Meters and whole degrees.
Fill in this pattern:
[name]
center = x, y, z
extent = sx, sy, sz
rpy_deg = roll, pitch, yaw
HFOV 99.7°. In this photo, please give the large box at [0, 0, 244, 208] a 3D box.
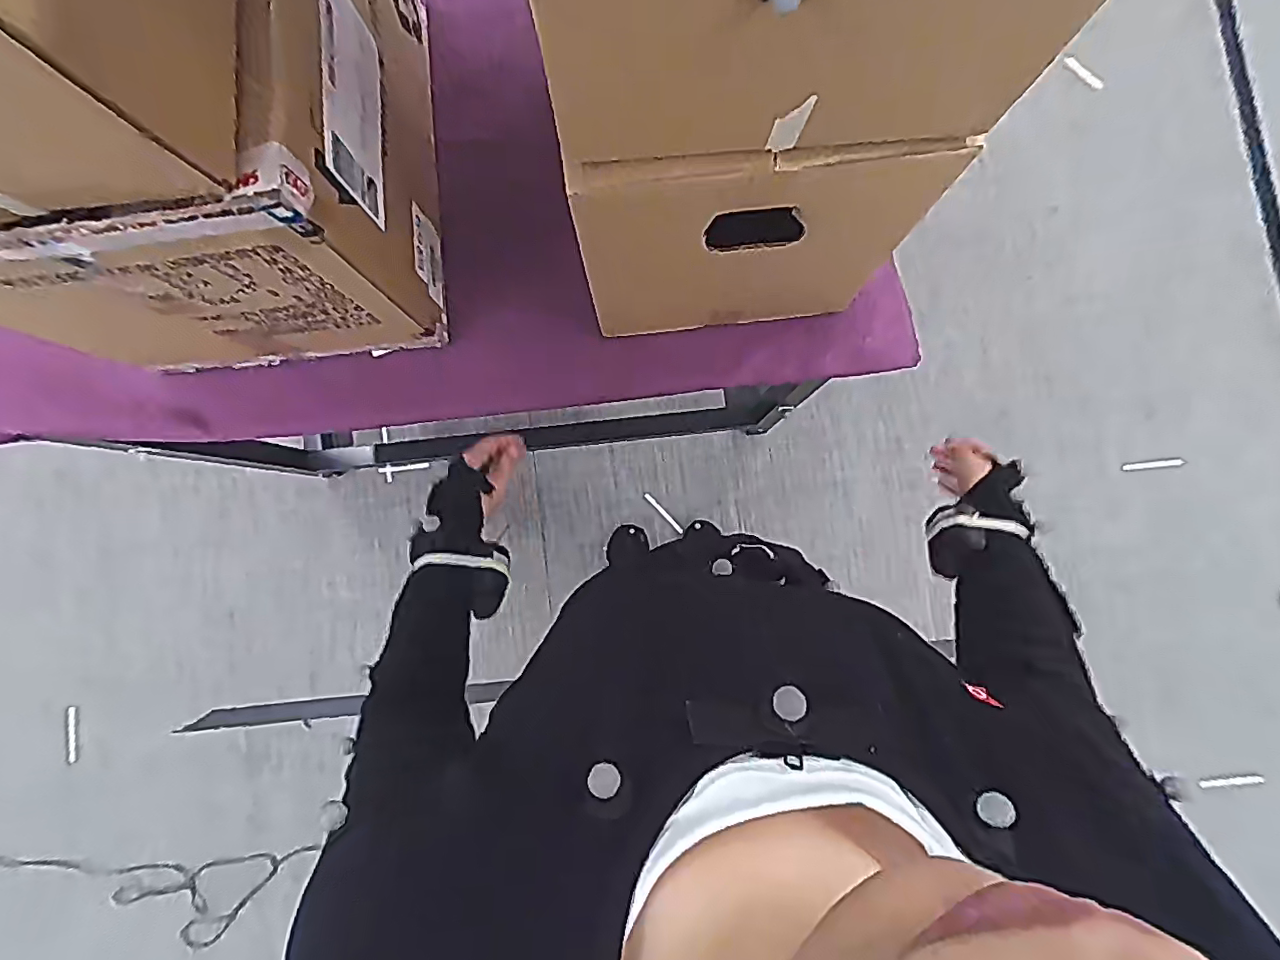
[large box]
center = -0.462, -0.414, 0.267
extent = 0.320, 0.320, 0.408
rpy_deg = -5, 86, 5
